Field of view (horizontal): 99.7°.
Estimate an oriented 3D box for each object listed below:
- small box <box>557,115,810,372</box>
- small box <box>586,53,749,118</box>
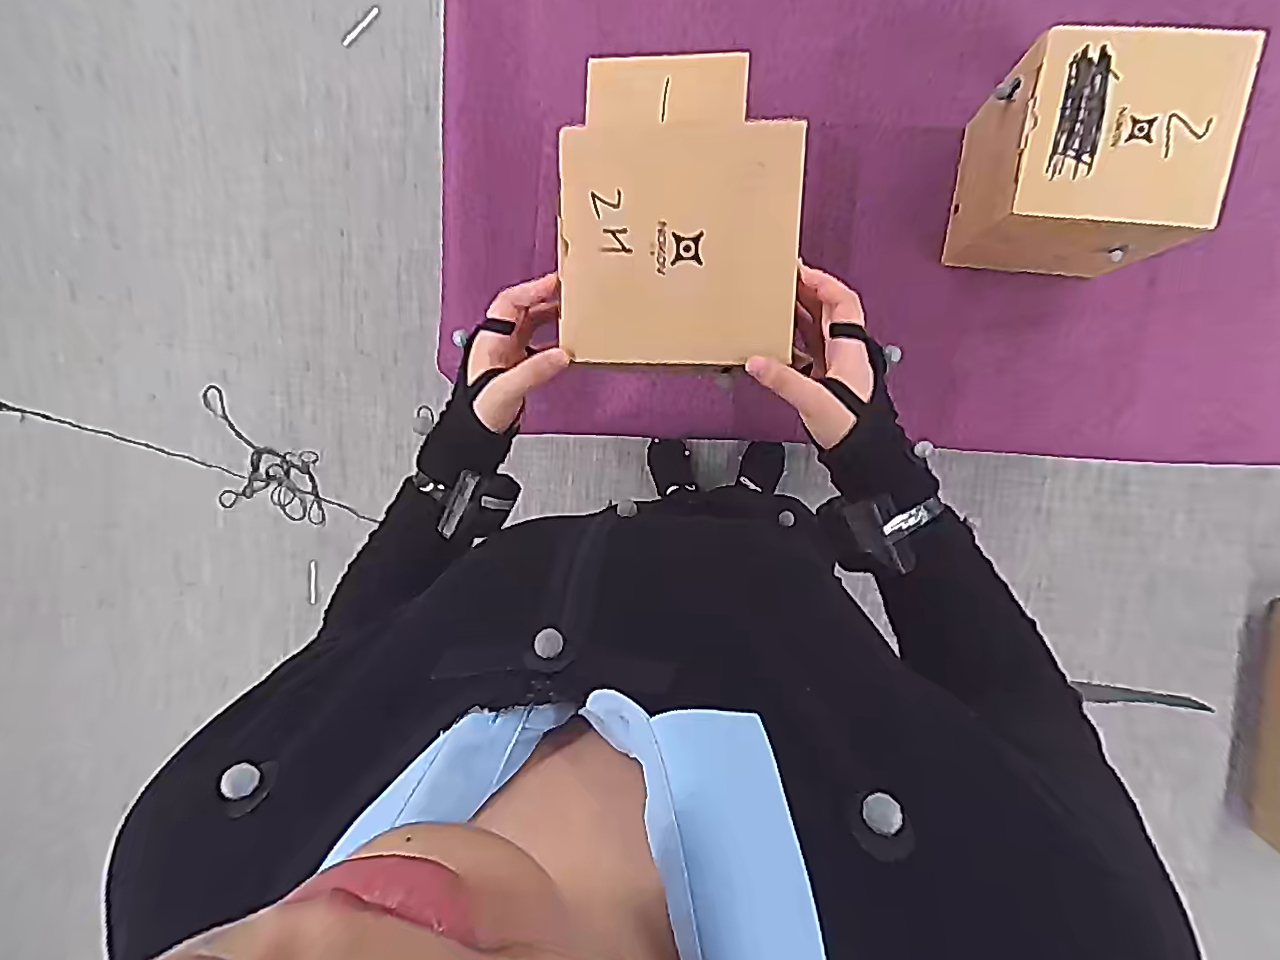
[{"bbox_3d":[0.034,-0.182,0.463,0.179,0.176,0.168,2,99,6],"label":"small box"},{"bbox_3d":[0.035,-0.349,0.631,0.168,0.176,0.179,4,97,8],"label":"small box"}]
